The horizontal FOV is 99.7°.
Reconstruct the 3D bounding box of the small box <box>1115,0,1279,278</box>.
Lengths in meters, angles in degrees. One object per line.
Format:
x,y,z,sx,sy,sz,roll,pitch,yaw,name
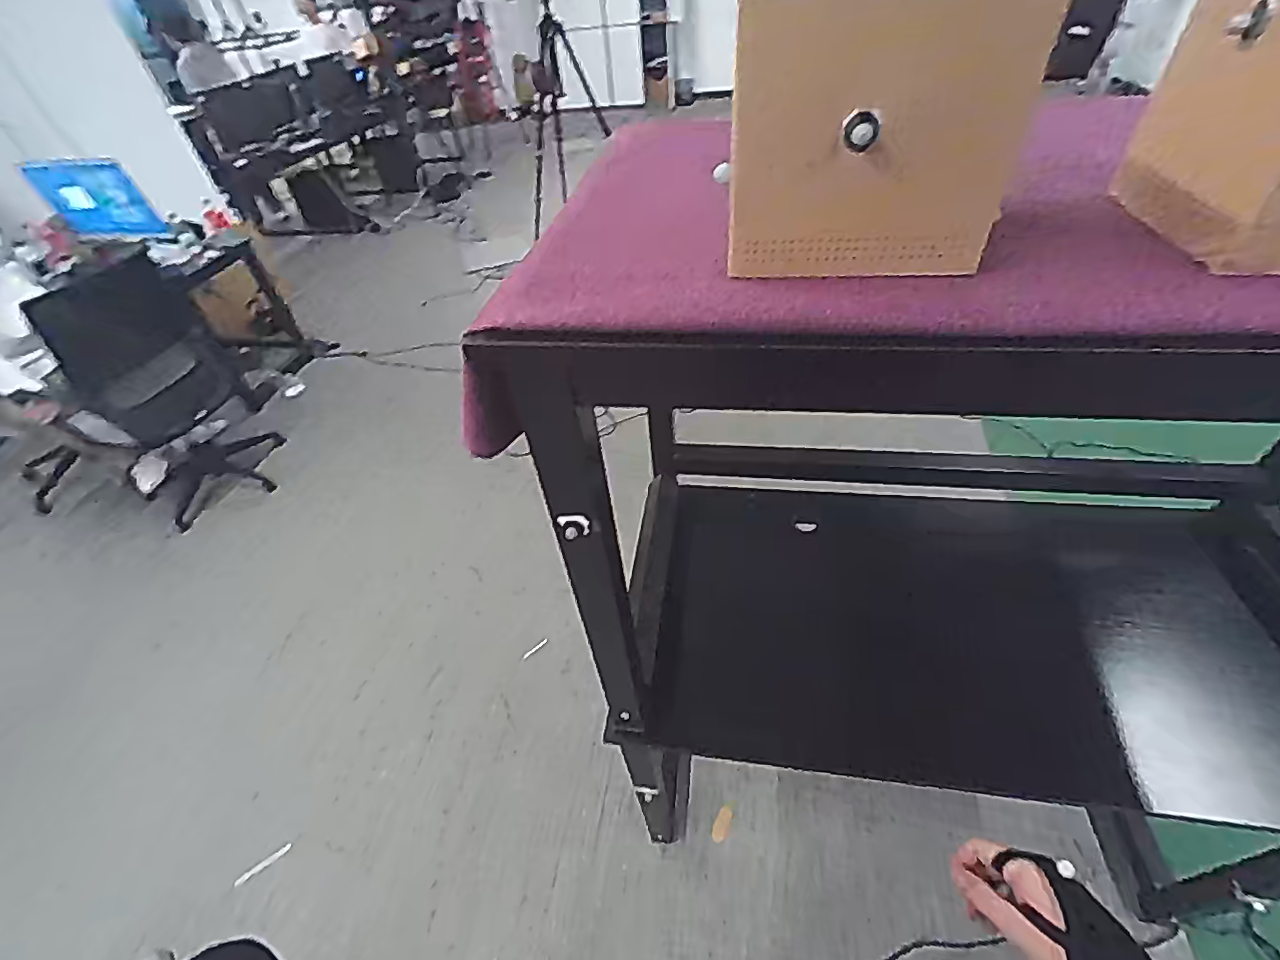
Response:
0.459,-0.242,0.342,0.168,0.176,0.179,4,44,13,small box

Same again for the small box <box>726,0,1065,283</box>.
0.157,-0.260,0.400,0.179,0.176,0.168,2,43,11,small box
